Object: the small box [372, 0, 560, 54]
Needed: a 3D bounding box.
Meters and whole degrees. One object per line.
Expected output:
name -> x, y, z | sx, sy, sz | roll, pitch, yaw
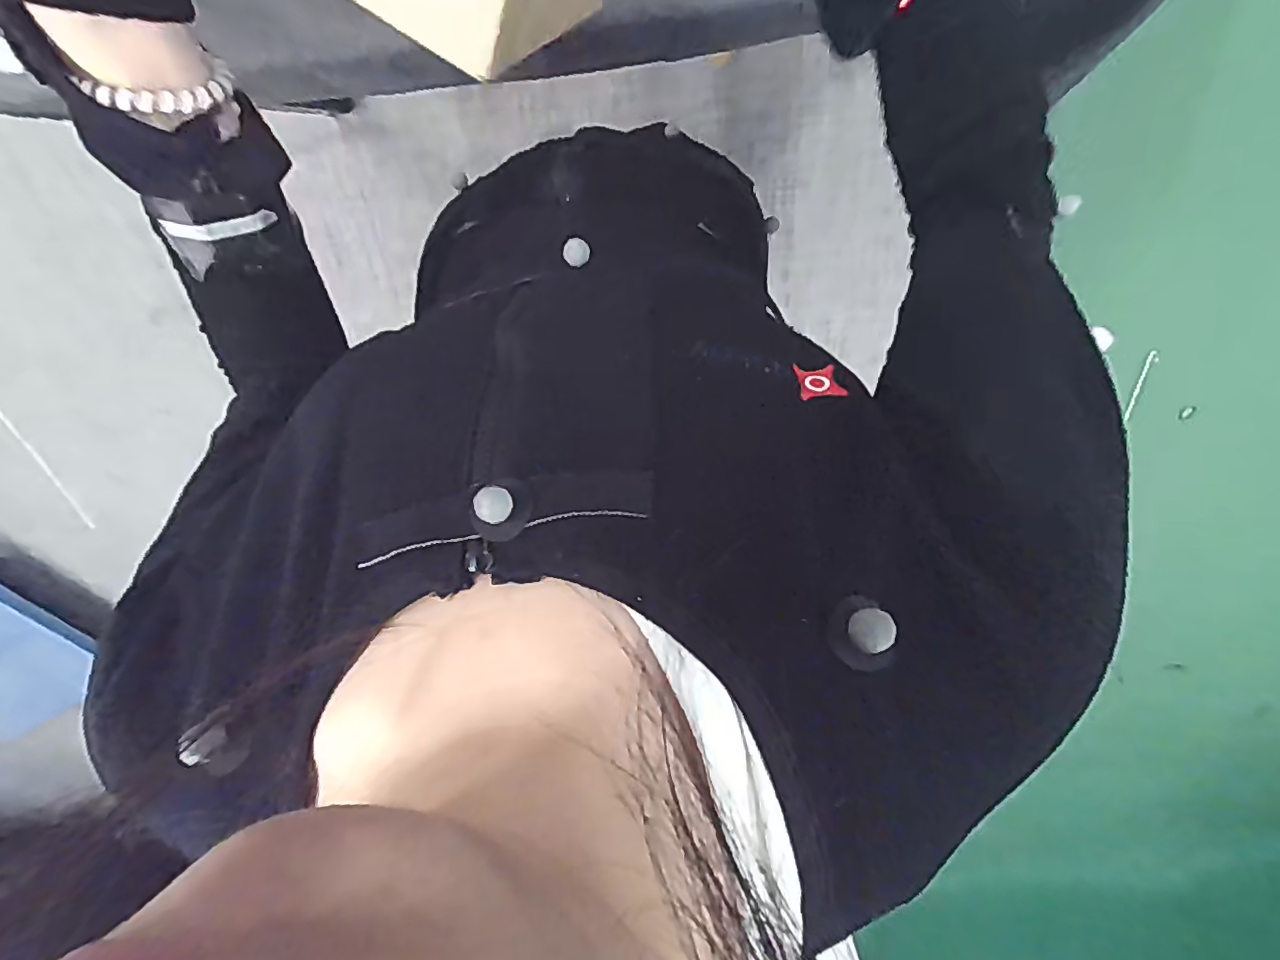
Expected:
small box -> -0.080, -0.294, 0.178 | 0.179, 0.176, 0.168 | 28, 139, -11
